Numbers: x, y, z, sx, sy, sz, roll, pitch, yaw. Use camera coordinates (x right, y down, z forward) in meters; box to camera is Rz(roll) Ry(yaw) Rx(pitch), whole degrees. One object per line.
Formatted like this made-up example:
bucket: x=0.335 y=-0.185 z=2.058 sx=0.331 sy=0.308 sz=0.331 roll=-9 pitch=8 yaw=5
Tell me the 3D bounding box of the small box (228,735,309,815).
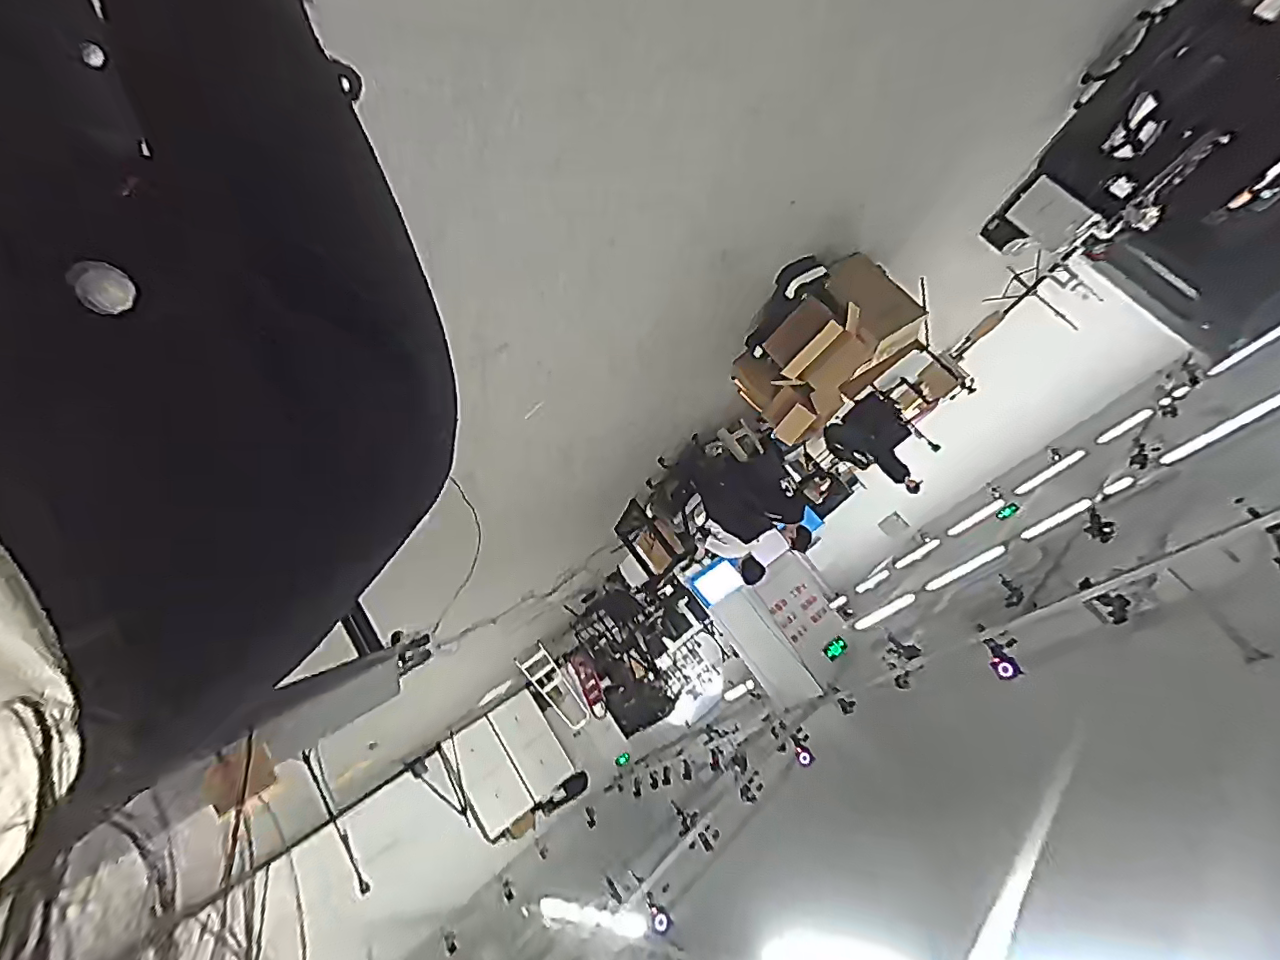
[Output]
small box: x=-1.271 y=1.007 z=1.853 sx=0.179 sy=0.176 sz=0.168 roll=-23 pitch=157 yaw=-35
